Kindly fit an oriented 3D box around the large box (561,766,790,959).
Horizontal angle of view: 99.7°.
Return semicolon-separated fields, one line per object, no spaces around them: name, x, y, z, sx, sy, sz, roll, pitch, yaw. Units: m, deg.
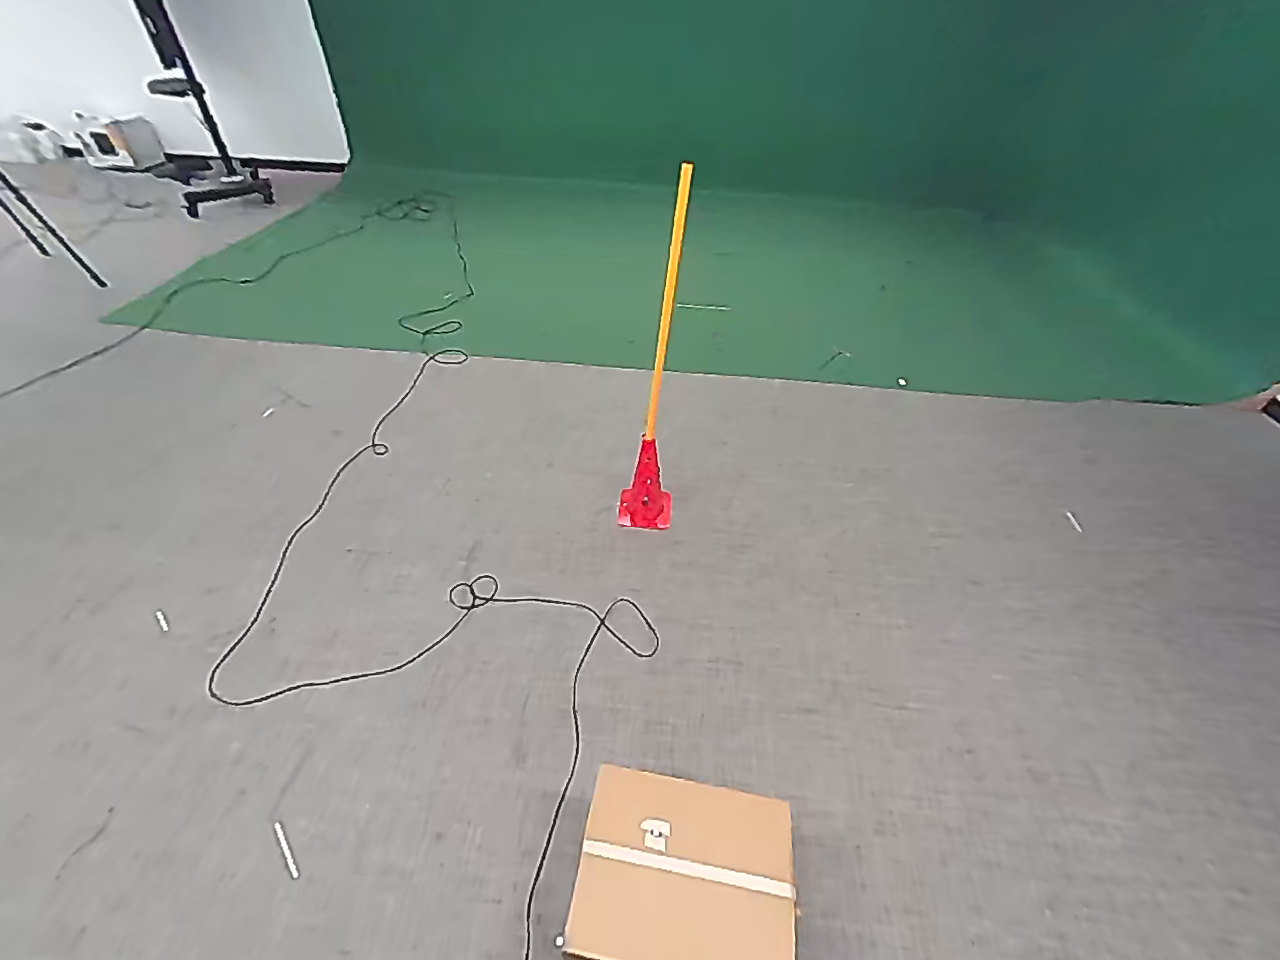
large box;0.079;0.848;1.131;0.408;0.320;0.320;9;43;6
